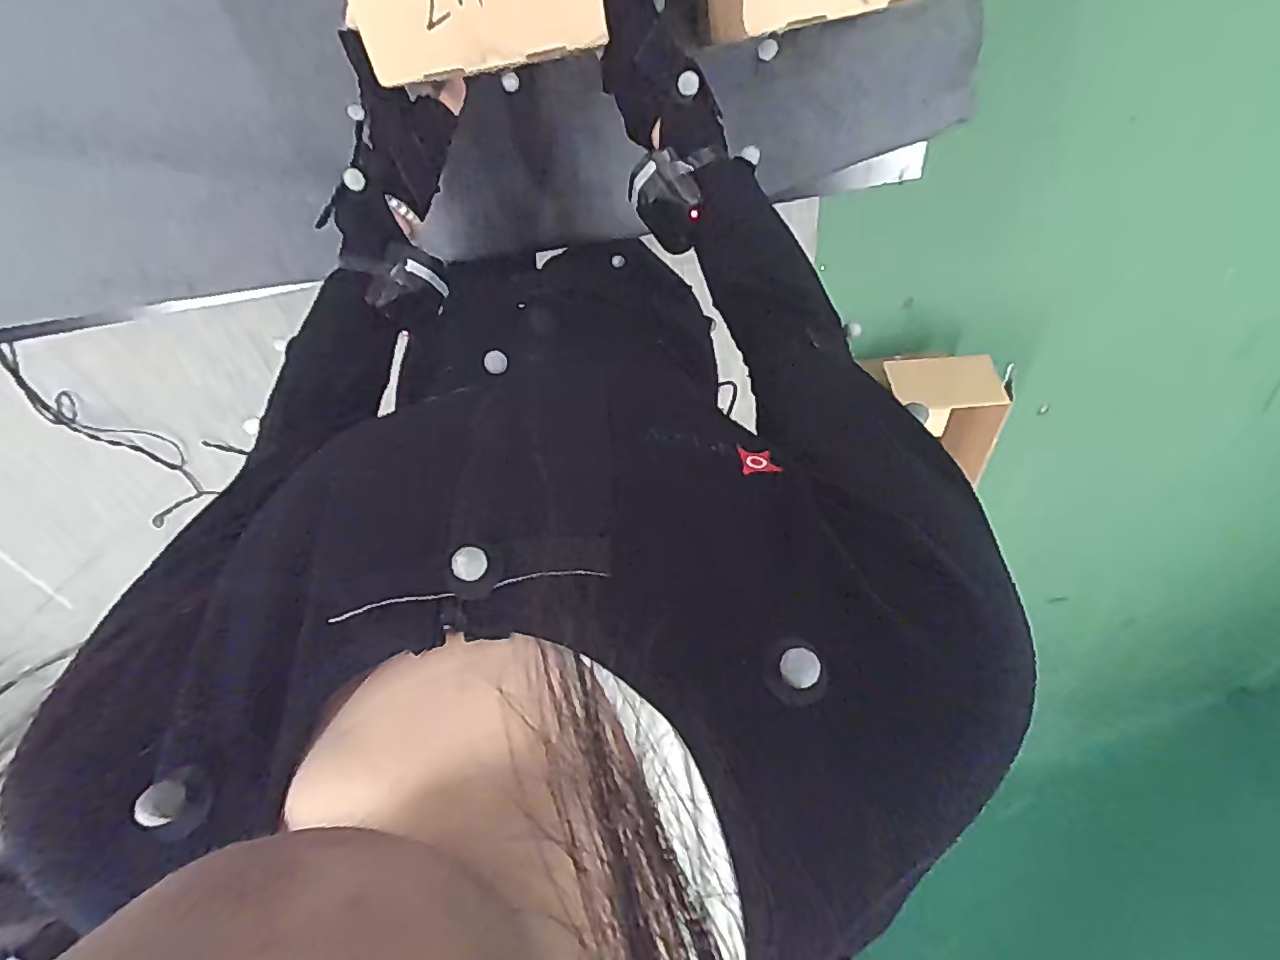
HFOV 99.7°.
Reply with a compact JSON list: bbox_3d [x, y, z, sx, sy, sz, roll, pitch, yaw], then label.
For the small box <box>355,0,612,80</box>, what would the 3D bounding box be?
[{"bbox_3d":[-0.120,-0.407,0.387,0.168,0.176,0.179,-11,127,0],"label":"small box"}]
